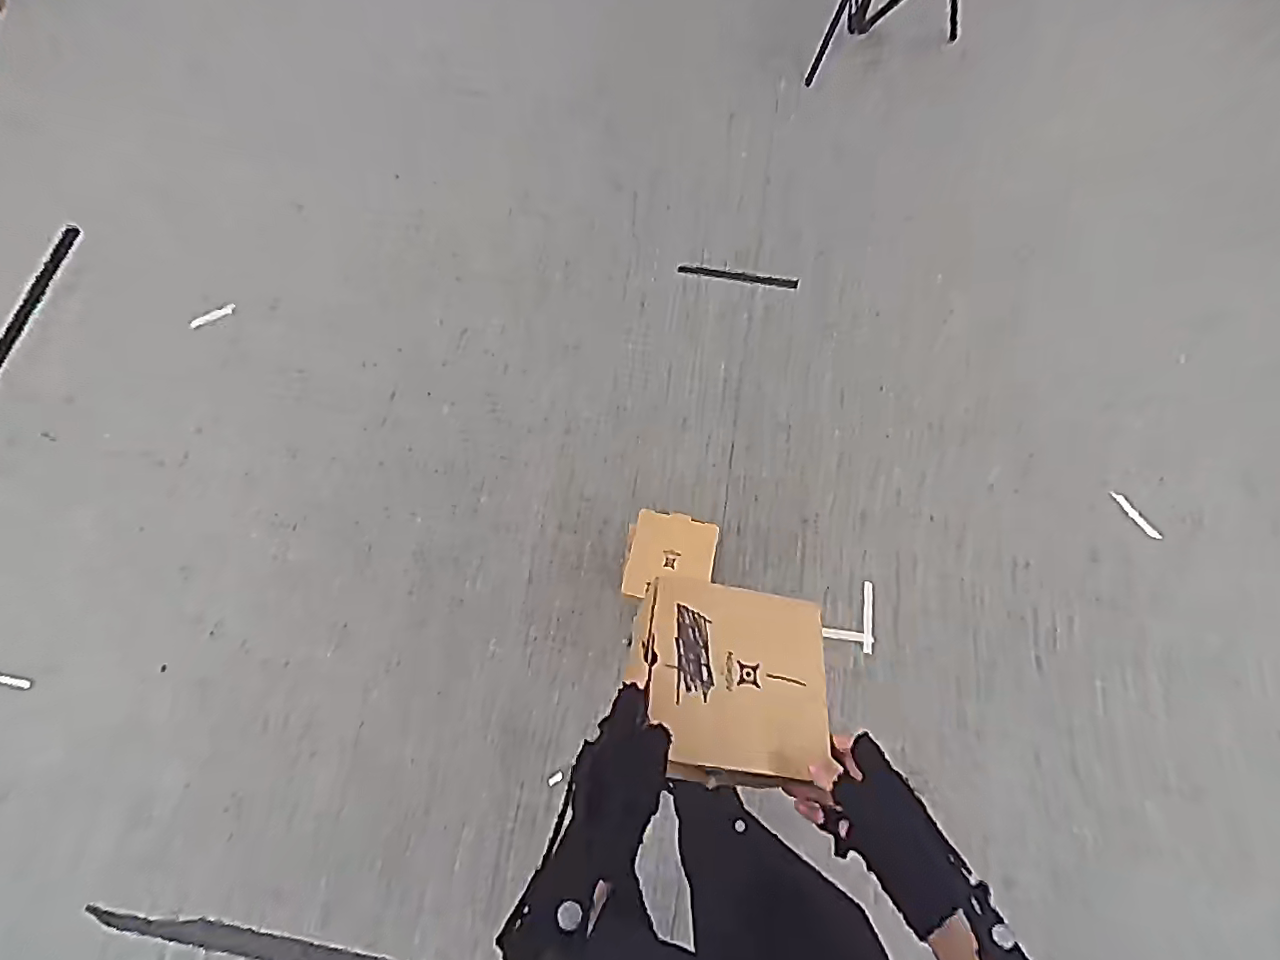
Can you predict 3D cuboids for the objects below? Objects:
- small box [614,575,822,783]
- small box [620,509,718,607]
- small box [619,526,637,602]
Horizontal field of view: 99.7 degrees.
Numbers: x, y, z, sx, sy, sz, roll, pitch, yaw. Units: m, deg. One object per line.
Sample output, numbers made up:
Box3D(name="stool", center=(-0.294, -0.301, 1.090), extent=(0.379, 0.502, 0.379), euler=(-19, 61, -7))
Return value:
Box3D(name="small box", center=(0.073, 0.220, 0.580), extent=(0.179, 0.176, 0.168), euler=(10, 58, -5))
Box3D(name="small box", center=(0.056, 0.182, 1.136), extent=(0.168, 0.176, 0.179), euler=(13, 72, 3))
Box3D(name="small box", center=(0.047, 0.216, 1.296), extent=(0.179, 0.176, 0.168), euler=(7, 72, 2))
